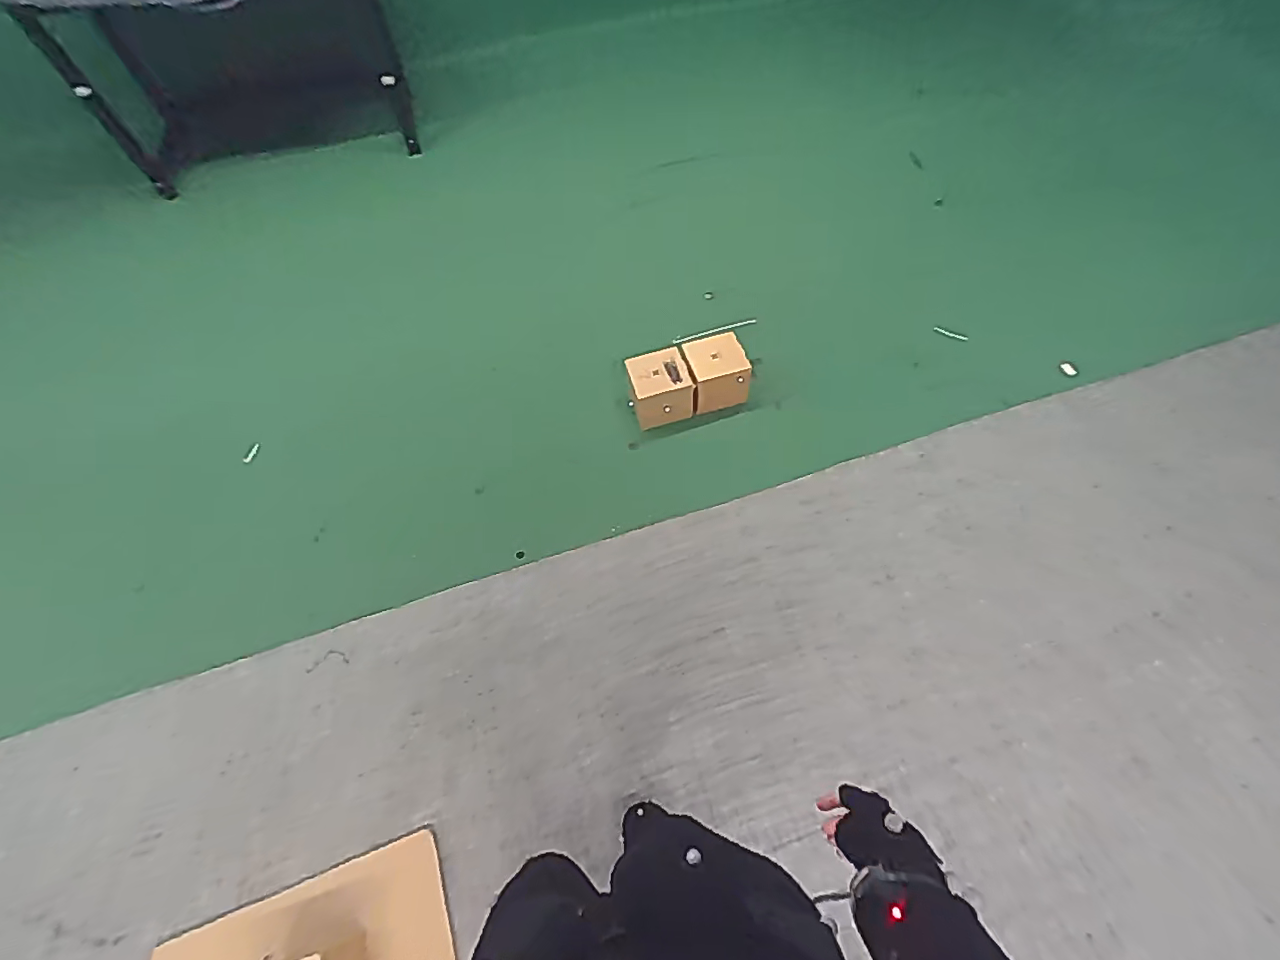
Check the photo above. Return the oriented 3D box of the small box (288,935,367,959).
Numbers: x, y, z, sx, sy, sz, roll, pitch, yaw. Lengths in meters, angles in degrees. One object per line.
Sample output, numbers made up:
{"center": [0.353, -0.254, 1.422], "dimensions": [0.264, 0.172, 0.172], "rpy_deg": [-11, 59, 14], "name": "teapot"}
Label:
{"center": [-0.635, 0.994, 1.007], "dimensions": [0.179, 0.176, 0.168], "rpy_deg": [-16, 62, -7], "name": "small box"}
